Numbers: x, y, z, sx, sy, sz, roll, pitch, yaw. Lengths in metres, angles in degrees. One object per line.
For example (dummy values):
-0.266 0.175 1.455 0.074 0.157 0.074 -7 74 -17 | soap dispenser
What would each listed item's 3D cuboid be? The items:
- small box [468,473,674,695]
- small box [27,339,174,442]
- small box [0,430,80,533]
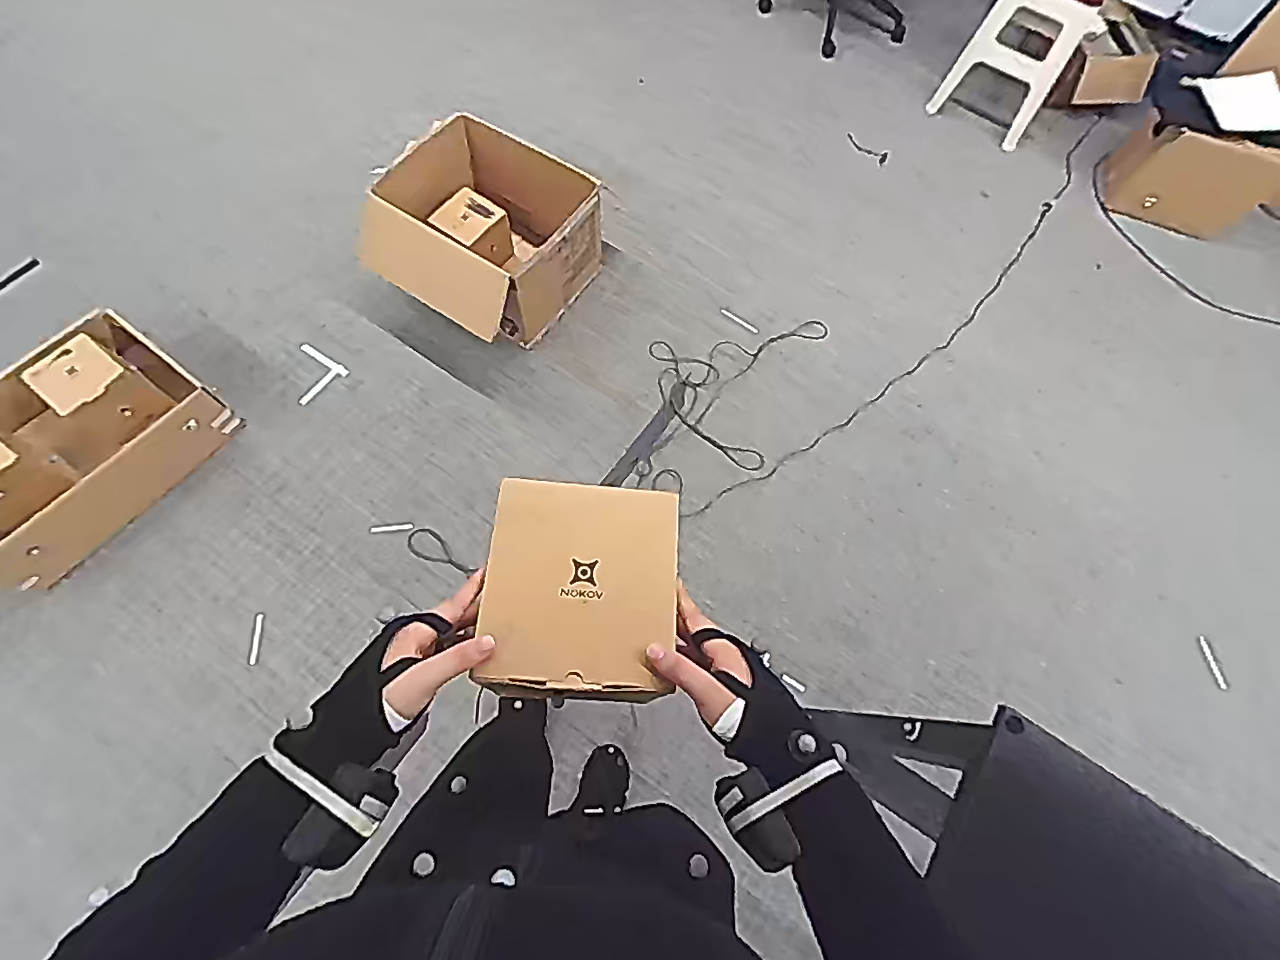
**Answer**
-0.062 0.112 0.540 0.168 0.176 0.179 5 65 -5 | small box
-1.376 -0.219 1.395 0.179 0.176 0.168 38 72 9 | small box
-1.535 0.002 1.296 0.168 0.176 0.179 36 69 7 | small box
